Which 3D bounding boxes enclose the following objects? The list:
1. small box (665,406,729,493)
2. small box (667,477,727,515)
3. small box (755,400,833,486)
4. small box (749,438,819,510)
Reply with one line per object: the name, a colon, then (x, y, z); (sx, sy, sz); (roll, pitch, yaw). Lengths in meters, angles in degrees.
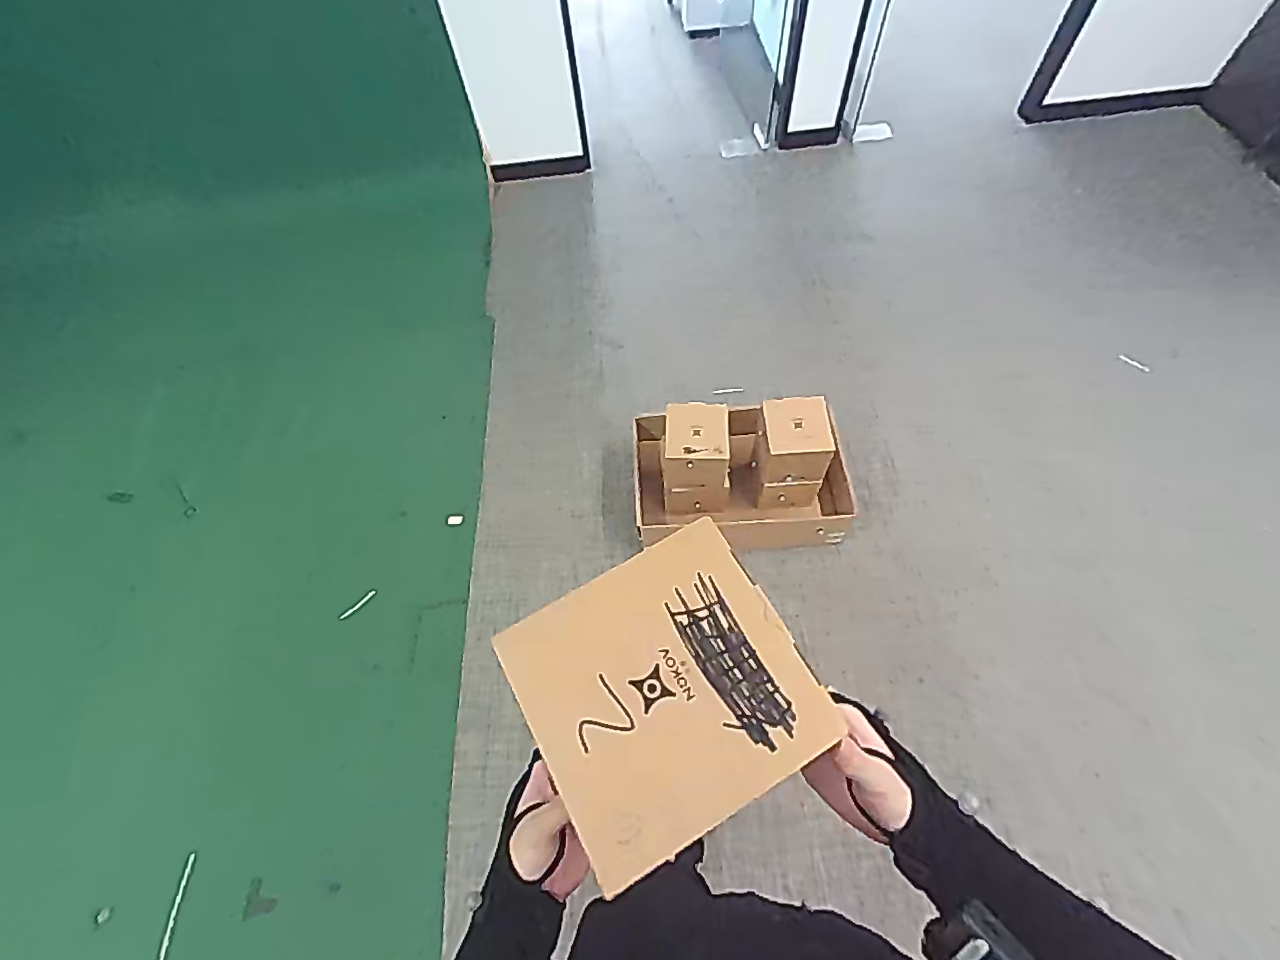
small box: (0.154, -0.083, 1.497); (0.168, 0.176, 0.179); (1, 60, 4)
small box: (0.167, -0.002, 1.640); (0.168, 0.176, 0.179); (-4, 61, -1)
small box: (0.417, -0.099, 1.495); (0.168, 0.176, 0.179); (-3, 61, 4)
small box: (0.429, -0.017, 1.635); (0.168, 0.176, 0.179); (-4, 61, 2)
